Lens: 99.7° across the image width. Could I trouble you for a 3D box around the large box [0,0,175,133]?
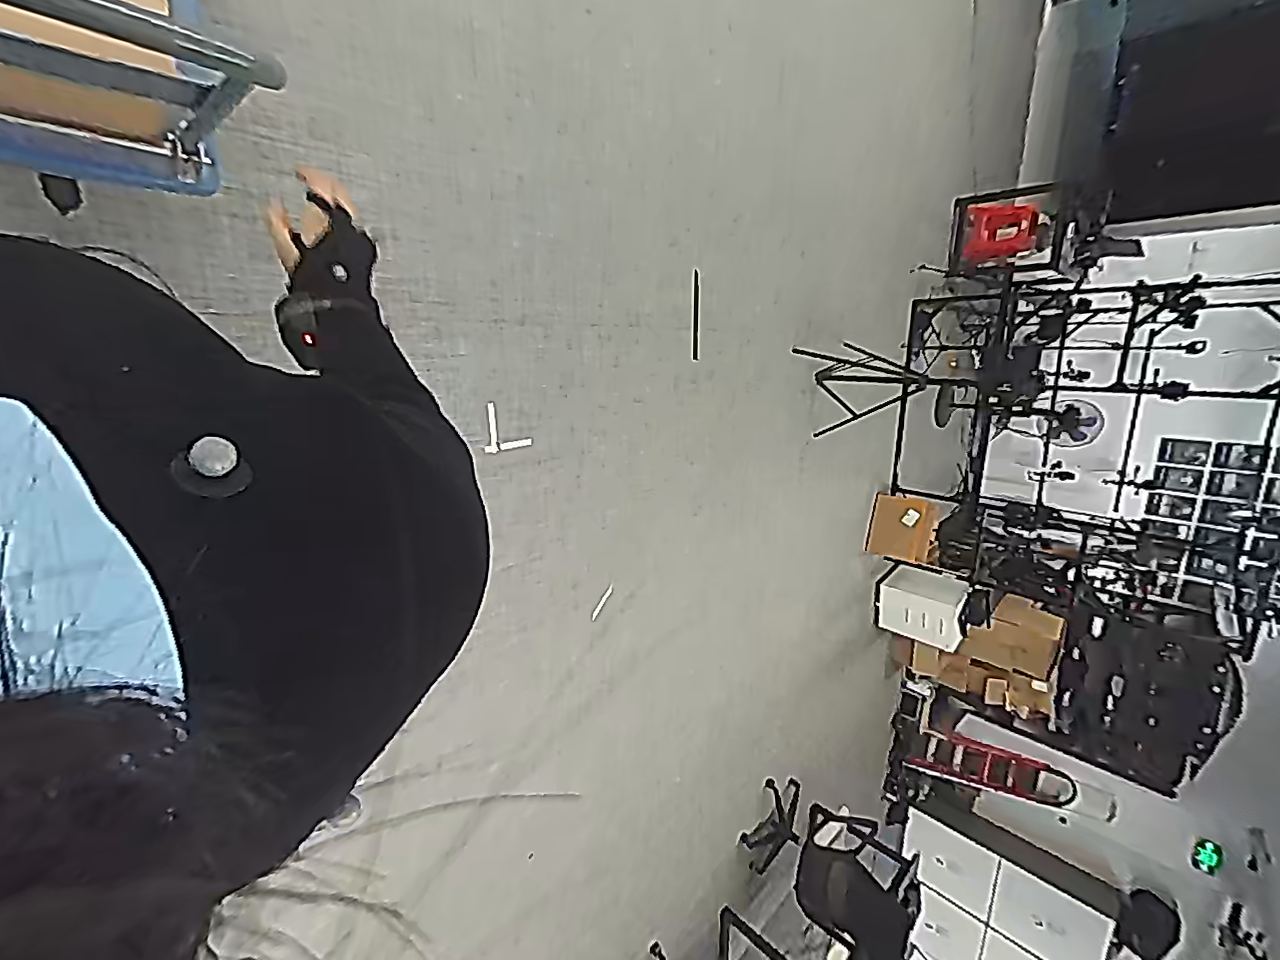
[{"bbox_3d":[-0.893,-0.699,0.680,0.408,0.320,0.320,-12,109,-46],"label":"large box"}]
